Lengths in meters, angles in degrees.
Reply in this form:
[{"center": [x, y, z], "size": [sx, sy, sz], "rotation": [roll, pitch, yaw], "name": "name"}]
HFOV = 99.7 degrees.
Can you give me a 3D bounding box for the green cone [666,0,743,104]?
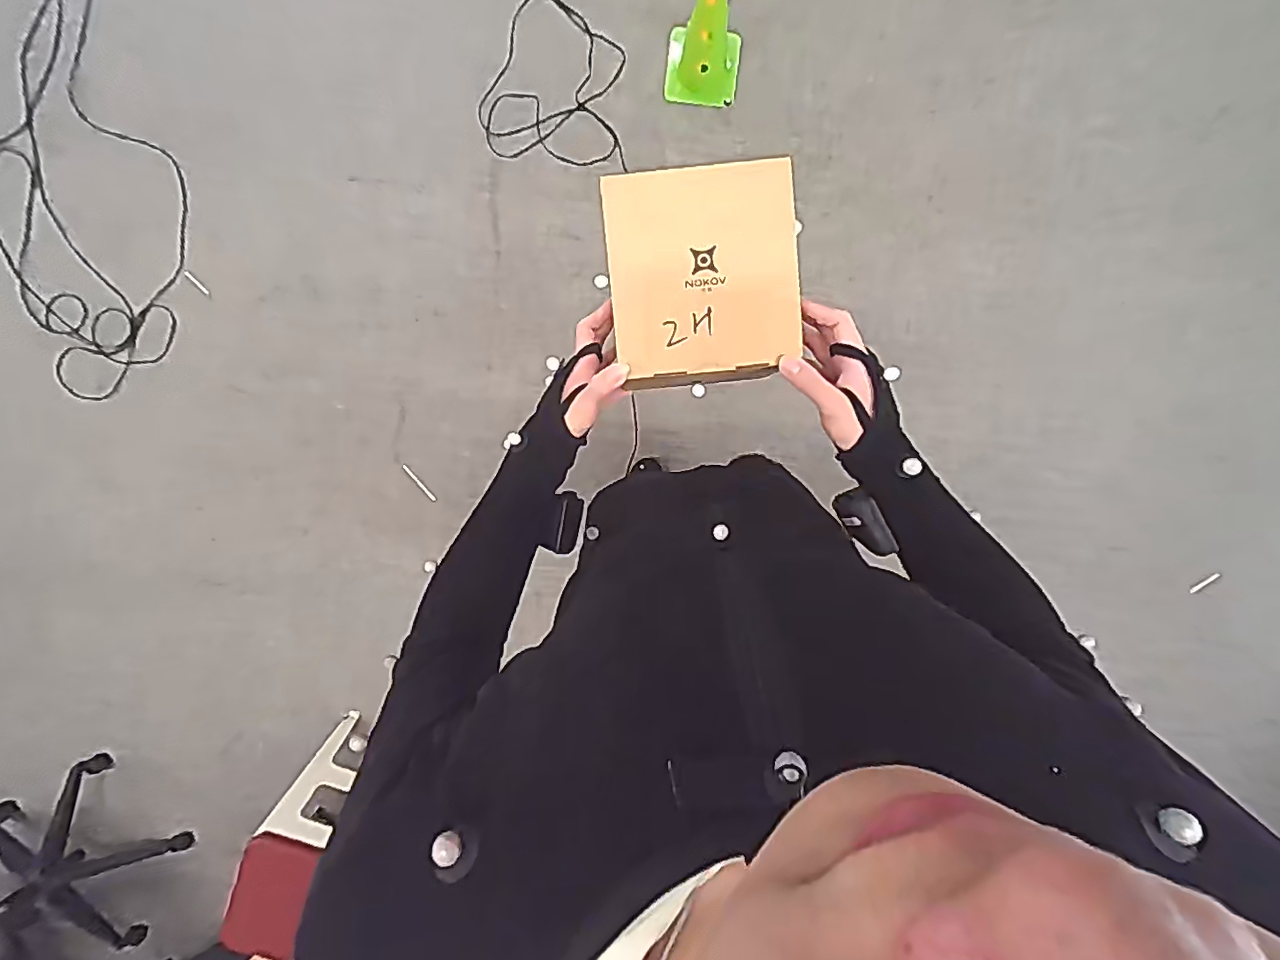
[{"center": [0.175, -1.152, 1.341], "size": [0.202, 0.368, 0.200], "rotation": [6, 93, 2], "name": "green cone"}]
